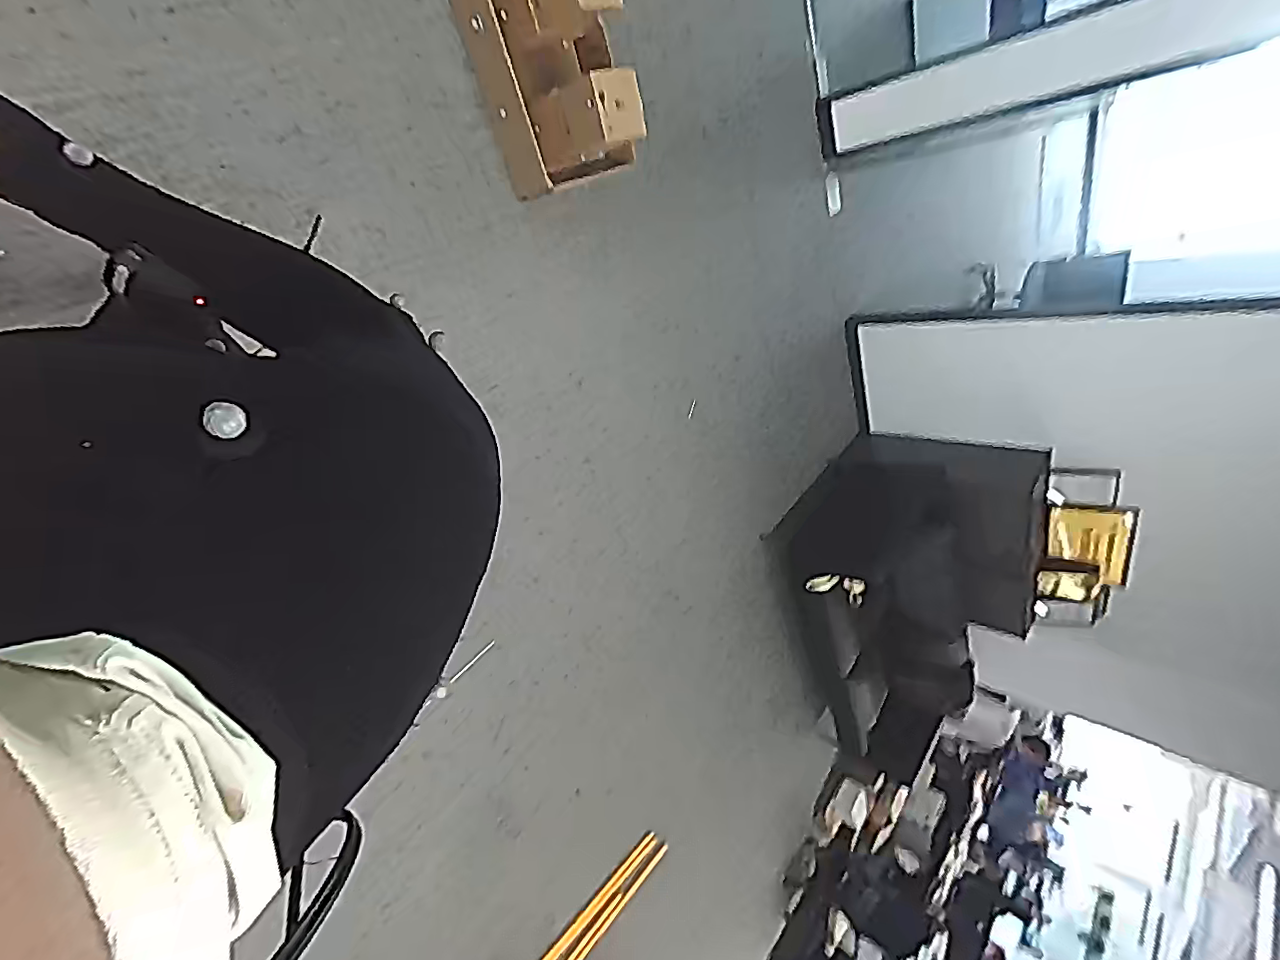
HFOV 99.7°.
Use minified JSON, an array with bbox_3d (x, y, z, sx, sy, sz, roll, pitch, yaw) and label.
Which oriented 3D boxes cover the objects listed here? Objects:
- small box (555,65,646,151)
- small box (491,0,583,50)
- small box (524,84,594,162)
[{"bbox_3d":[-0.113,-1.069,1.556,0.179,0.176,0.168,-36,123,-35],"label":"small box"},{"bbox_3d":[-0.298,-1.352,1.534,0.179,0.176,0.168,-38,124,-34],"label":"small box"},{"bbox_3d":[-0.226,-1.104,1.669,0.179,0.176,0.168,-36,123,-33],"label":"small box"}]
